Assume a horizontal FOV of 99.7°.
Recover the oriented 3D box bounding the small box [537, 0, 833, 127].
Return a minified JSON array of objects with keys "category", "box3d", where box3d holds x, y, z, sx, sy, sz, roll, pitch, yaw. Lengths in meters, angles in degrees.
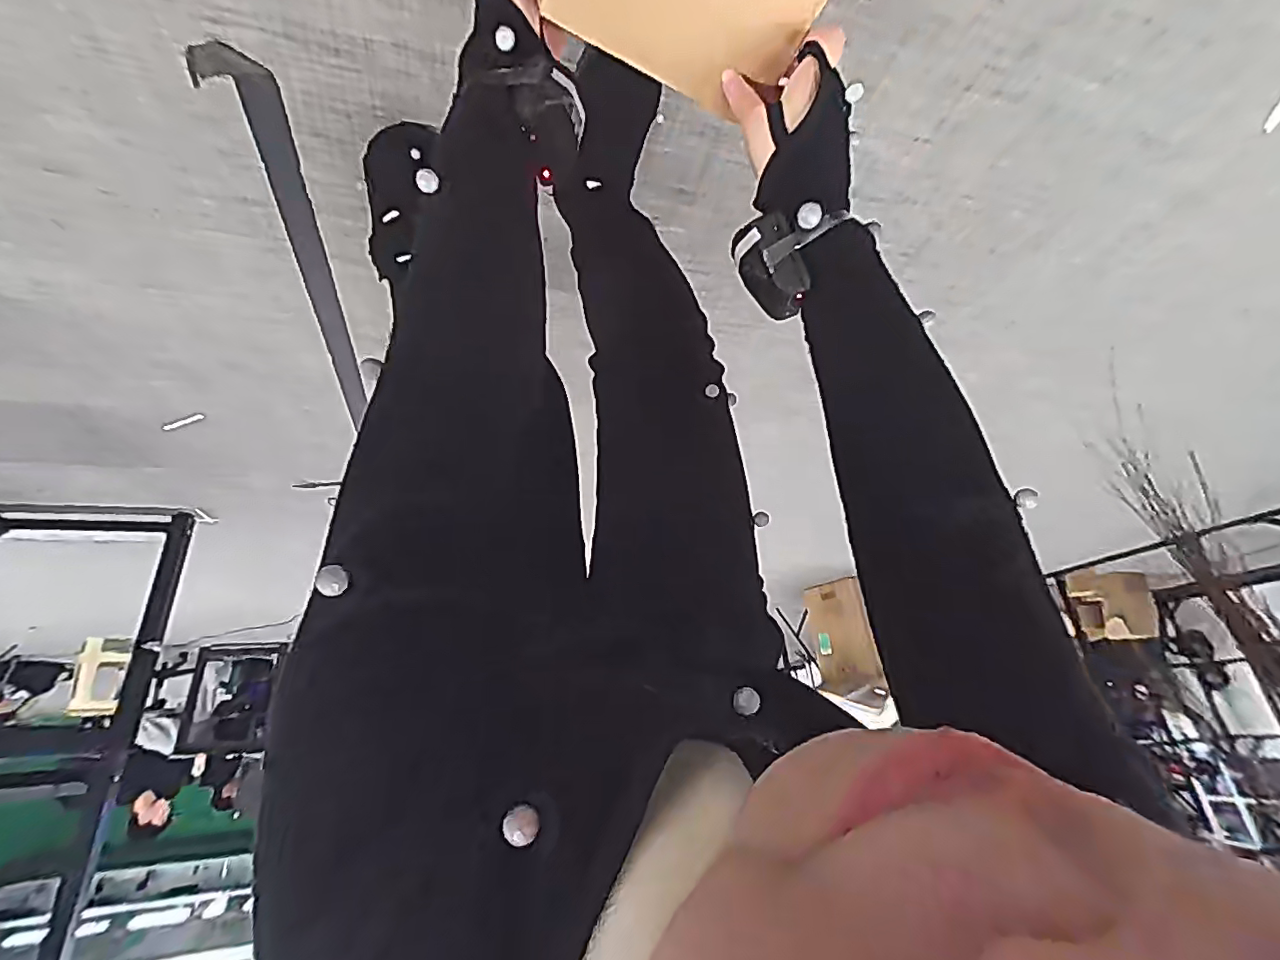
[{"category":"small box","box3d":[0.038,-0.393,0.361,0.179,0.176,0.168,9,145,-28]}]
